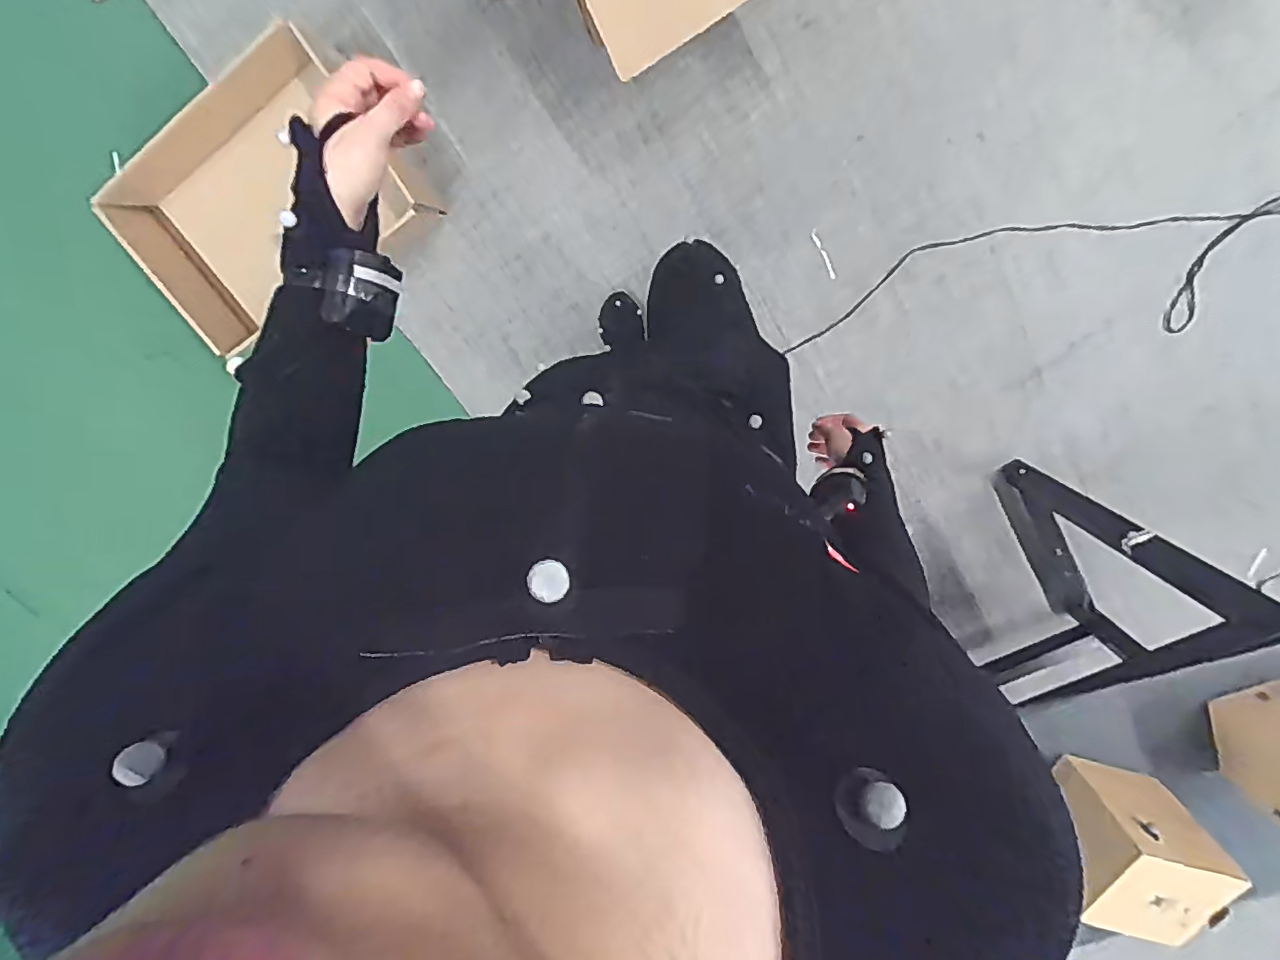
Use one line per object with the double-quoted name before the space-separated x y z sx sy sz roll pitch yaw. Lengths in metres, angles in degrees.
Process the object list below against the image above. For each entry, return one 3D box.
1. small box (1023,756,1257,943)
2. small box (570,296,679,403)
"small box" 0.765 0.574 0.856 0.179 0.176 0.168 15 112 -4
"small box" -0.029 -0.315 1.307 0.176 0.168 0.179 37 85 -40
